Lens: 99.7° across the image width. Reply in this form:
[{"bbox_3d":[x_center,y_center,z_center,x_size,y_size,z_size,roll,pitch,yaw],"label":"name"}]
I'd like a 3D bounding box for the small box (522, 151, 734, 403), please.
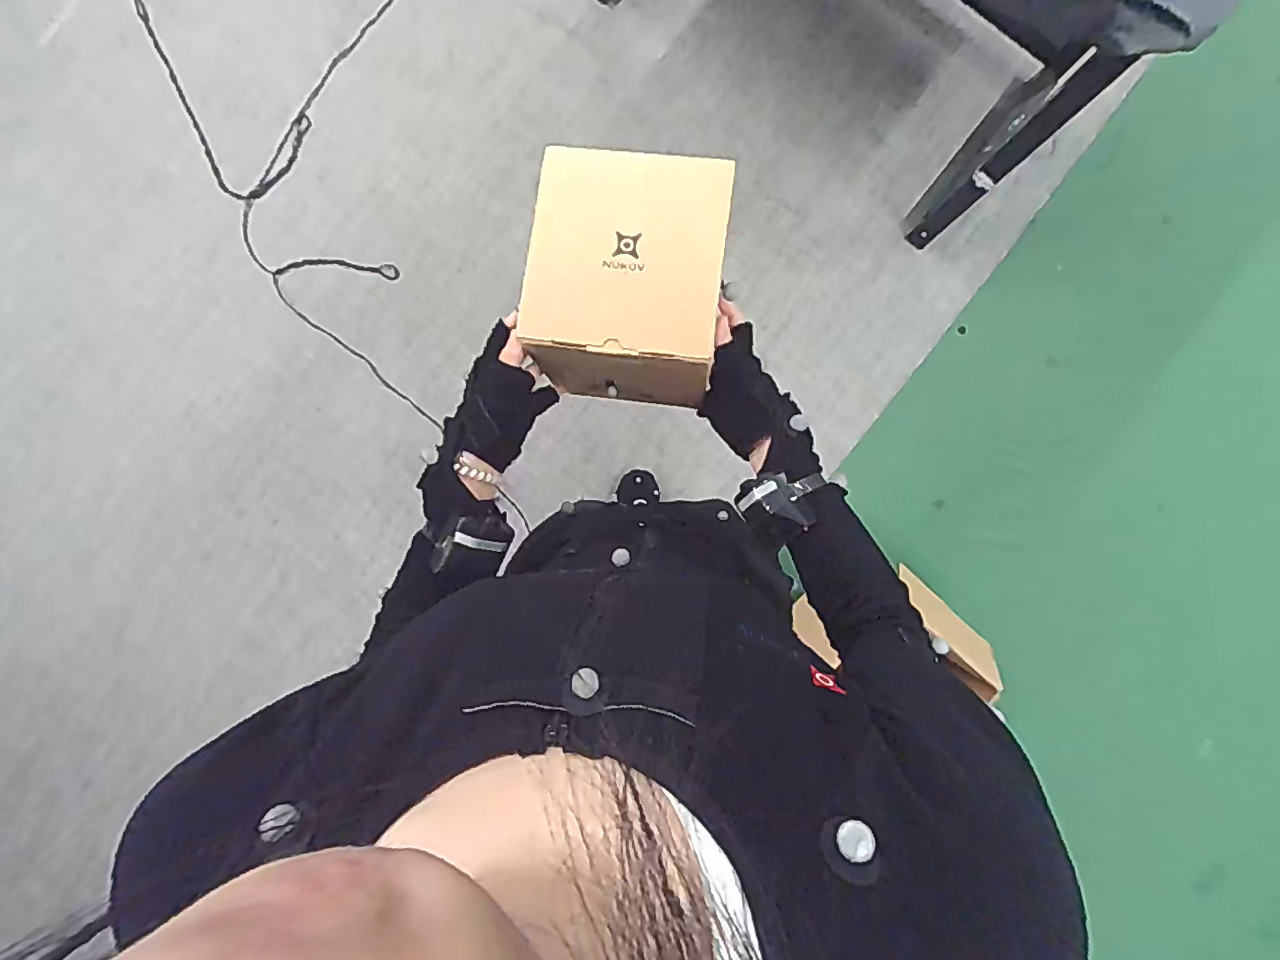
[{"bbox_3d":[-0.006,-0.189,0.547,0.168,0.176,0.179,8,87,4],"label":"small box"}]
